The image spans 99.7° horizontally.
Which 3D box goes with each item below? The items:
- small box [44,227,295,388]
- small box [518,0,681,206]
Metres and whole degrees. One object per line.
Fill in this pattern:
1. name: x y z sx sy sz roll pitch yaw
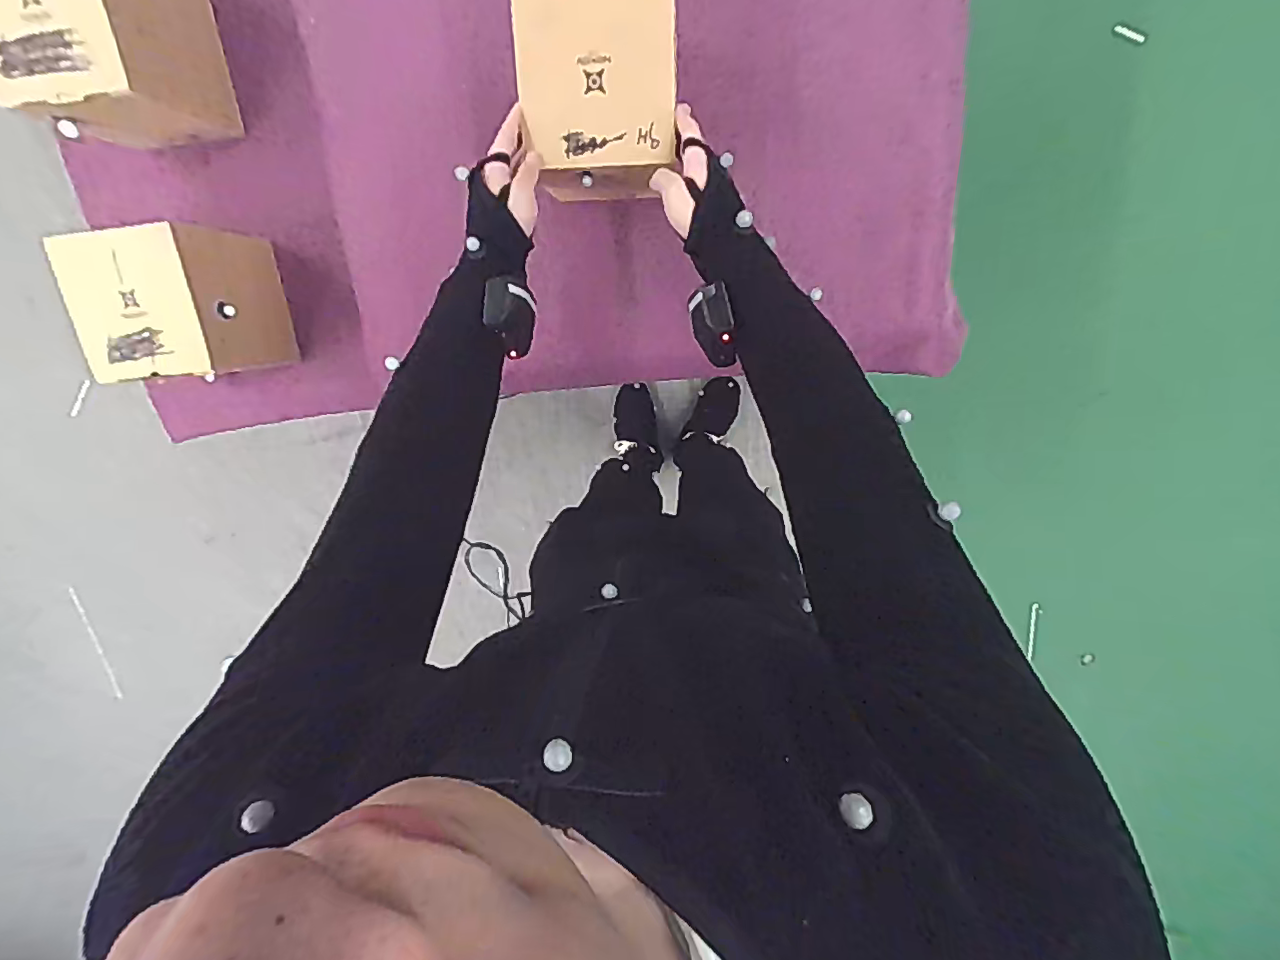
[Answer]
1. small box: -0.608 -0.227 0.729 0.168 0.176 0.179 -4 106 4
2. small box: -0.036 -0.436 0.632 0.168 0.176 0.179 0 106 5
